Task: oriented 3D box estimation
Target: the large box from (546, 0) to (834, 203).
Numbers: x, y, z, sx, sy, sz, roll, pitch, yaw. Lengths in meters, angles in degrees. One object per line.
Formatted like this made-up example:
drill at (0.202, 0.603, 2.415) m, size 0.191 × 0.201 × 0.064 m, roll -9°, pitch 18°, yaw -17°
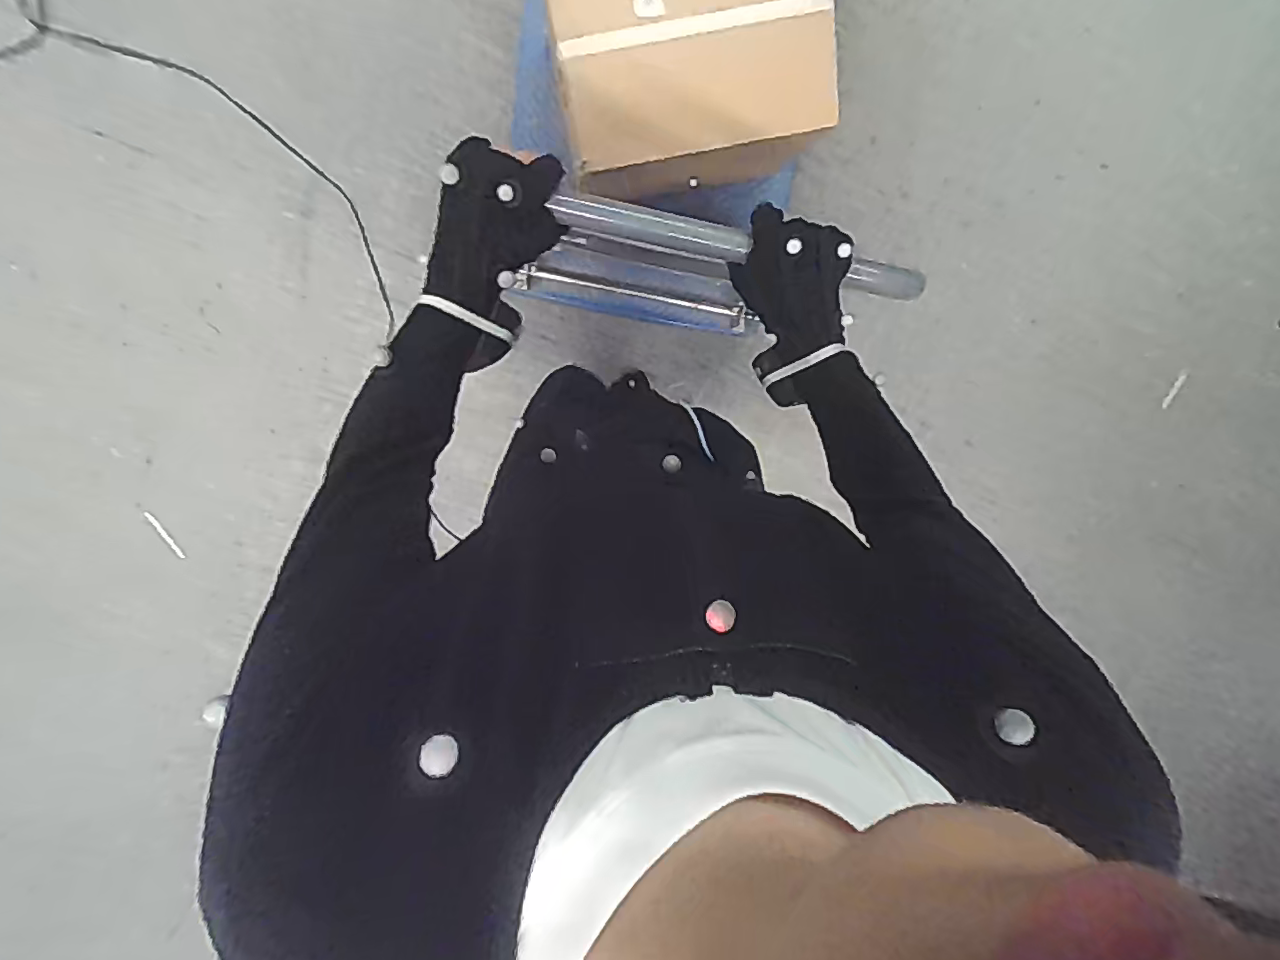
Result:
large box at (0.070, -0.706, 0.932) m, size 0.408 × 0.320 × 0.320 m, roll -12°, pitch 107°, yaw -1°
